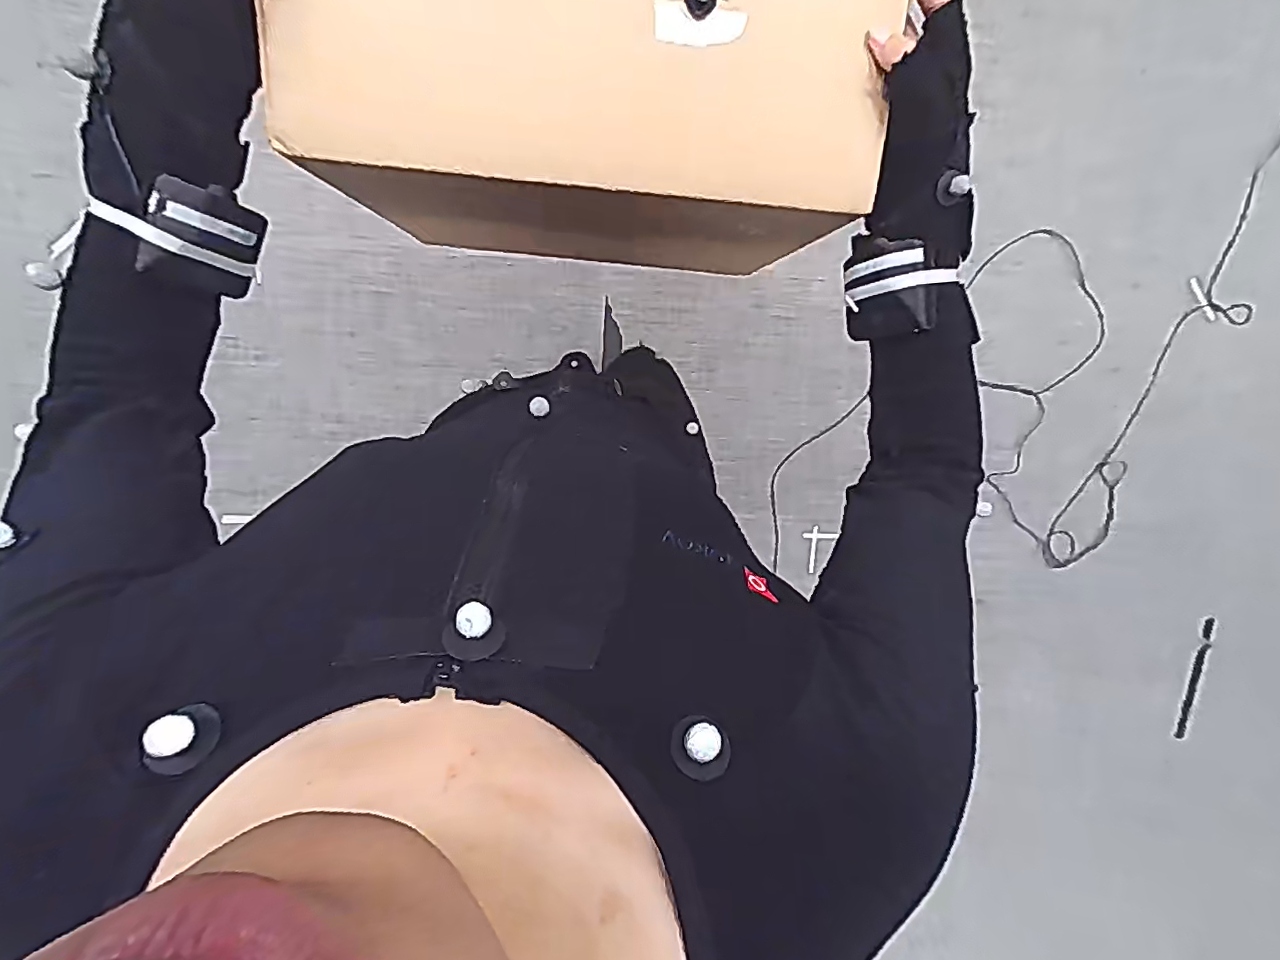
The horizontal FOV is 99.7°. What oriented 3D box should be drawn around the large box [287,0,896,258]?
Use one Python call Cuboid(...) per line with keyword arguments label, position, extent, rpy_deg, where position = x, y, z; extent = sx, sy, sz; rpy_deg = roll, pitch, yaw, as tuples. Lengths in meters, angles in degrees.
Cuboid(label="large box", position=(-0.035, -0.398, 0.486), extent=(0.408, 0.320, 0.320), rpy_deg=(2, 104, -6))
